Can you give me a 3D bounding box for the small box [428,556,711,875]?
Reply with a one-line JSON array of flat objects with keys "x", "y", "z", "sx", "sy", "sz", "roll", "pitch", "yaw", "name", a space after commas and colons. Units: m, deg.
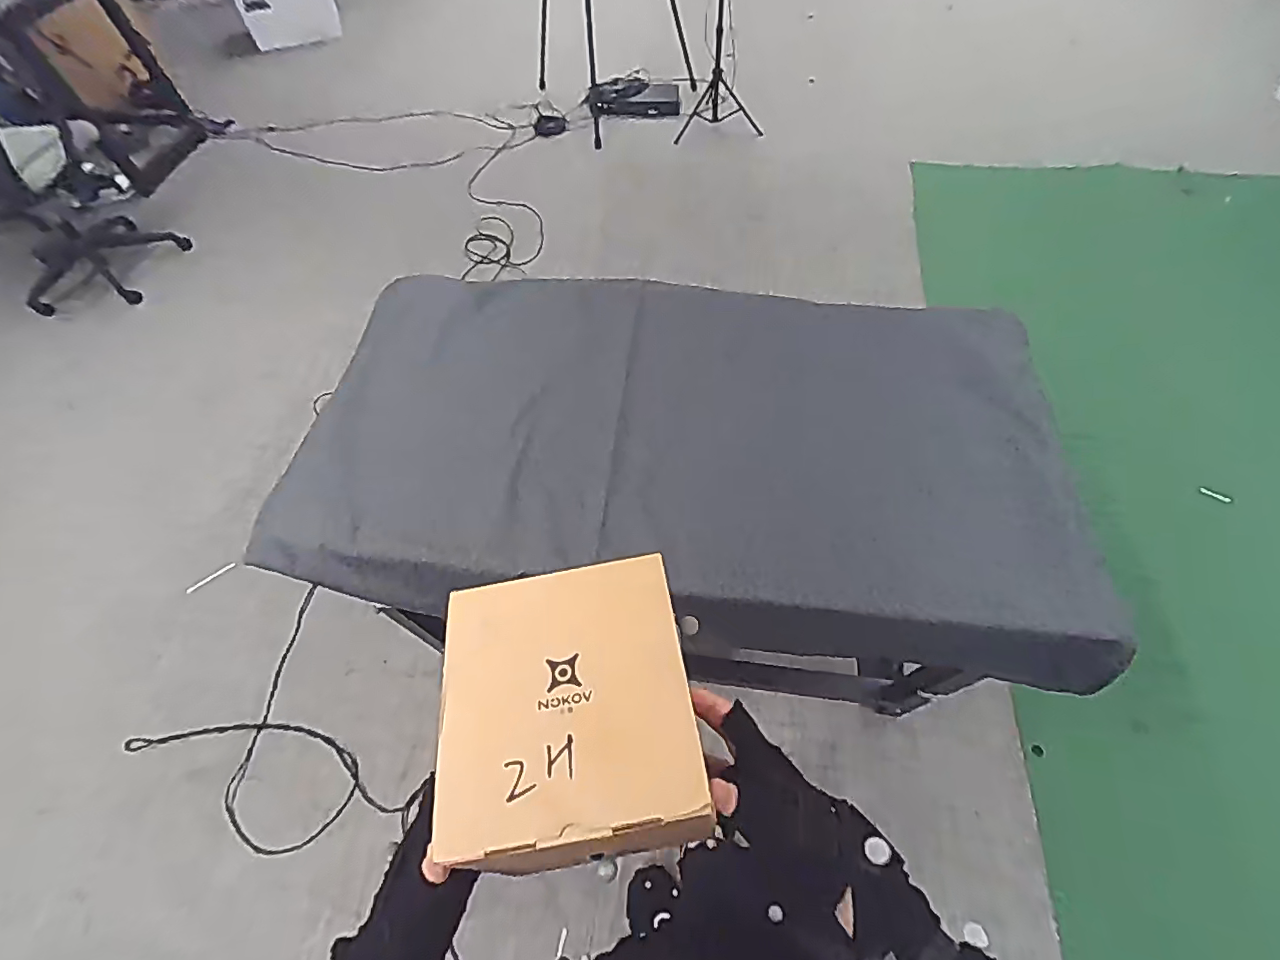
[{"x": -0.044, "y": 0.187, "z": 0.422, "sx": 0.168, "sy": 0.176, "sz": 0.179, "roll": -11, "pitch": 52, "yaw": 0, "name": "small box"}]
